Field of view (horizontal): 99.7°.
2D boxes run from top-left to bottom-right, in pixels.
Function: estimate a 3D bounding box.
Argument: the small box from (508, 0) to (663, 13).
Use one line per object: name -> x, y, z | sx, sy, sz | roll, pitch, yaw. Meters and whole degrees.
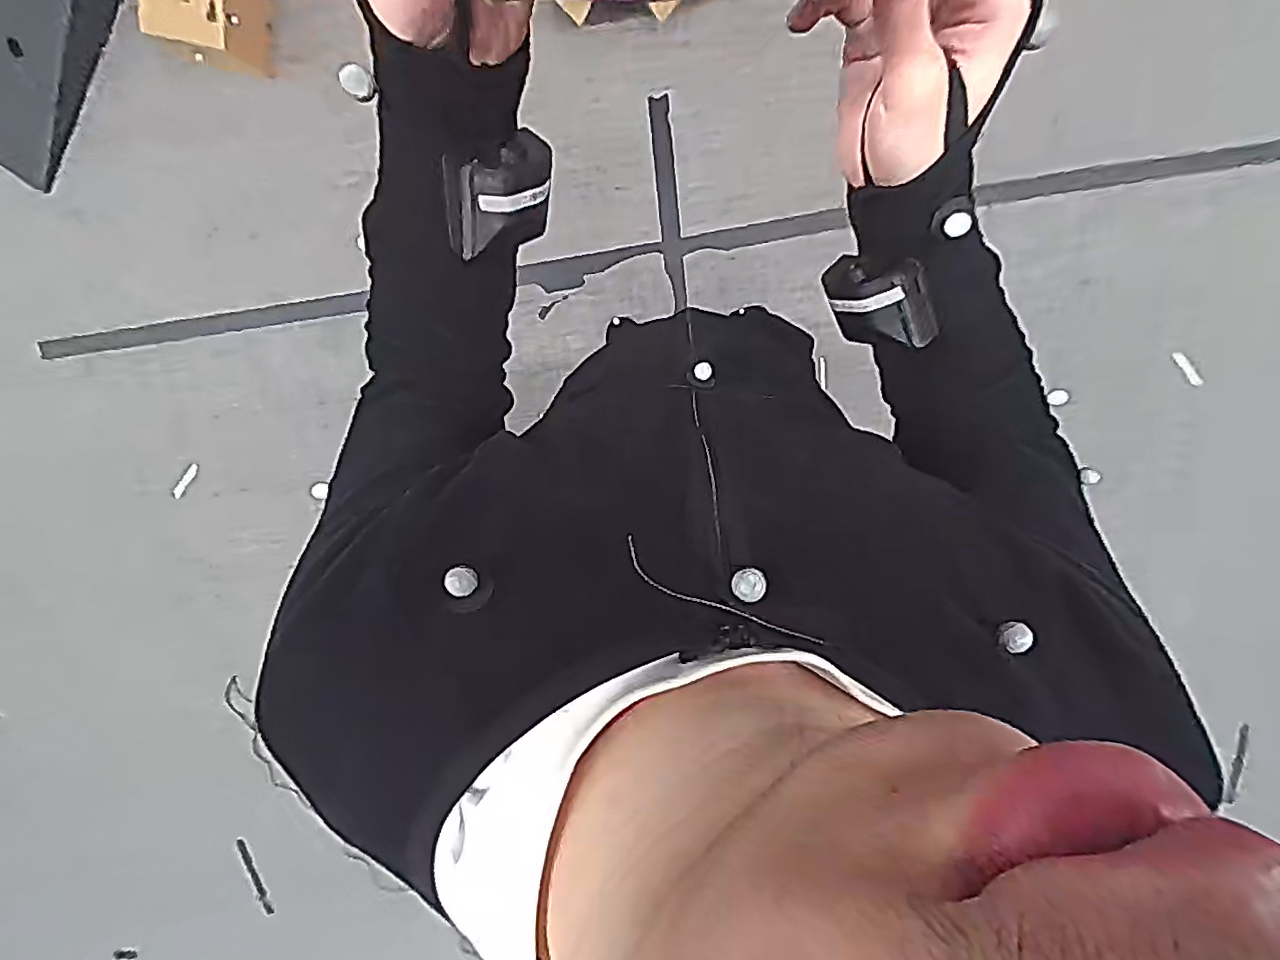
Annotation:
small box -> 0.026, -0.237, 0.118 | 0.179, 0.176, 0.168 | -8, 118, -1
